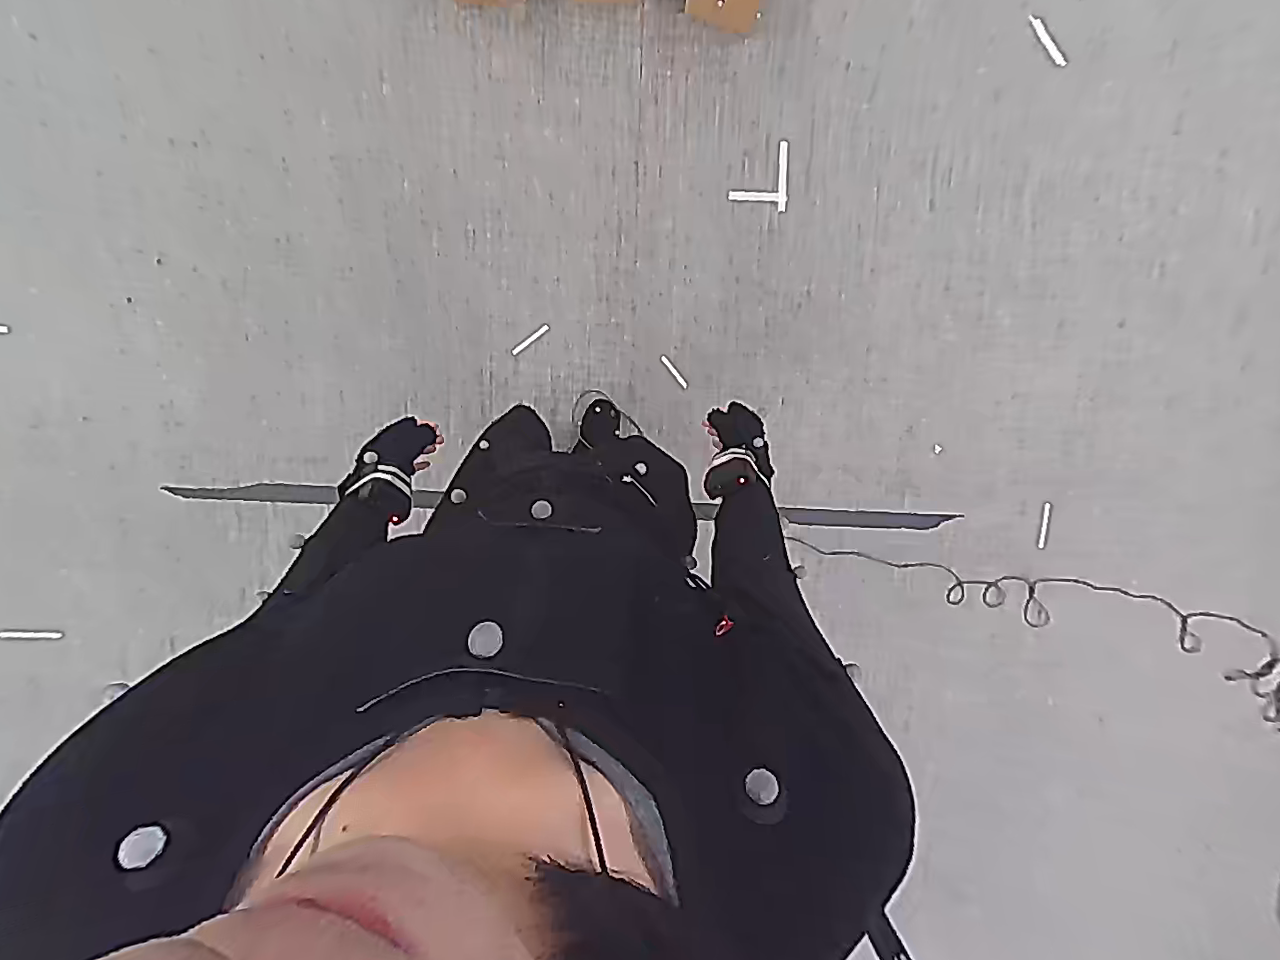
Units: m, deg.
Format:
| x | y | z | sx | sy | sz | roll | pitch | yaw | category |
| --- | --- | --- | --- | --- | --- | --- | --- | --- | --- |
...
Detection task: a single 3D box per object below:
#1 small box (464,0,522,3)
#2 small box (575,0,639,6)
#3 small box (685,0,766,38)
| x | y | z | sx | sy | sz | roll | pitch | yaw | category |
| --- | --- | --- | --- | --- | --- | --- | --- | --- | --- |
| -0.362 | -1.234 | 1.231 | 0.168 | 0.176 | 0.179 | -7 | 98 | -4 | small box |
| -0.079 | -1.246 | 1.251 | 0.179 | 0.176 | 0.168 | -5 | 99 | -3 | small box |
| 0.220 | -1.205 | 1.283 | 0.179 | 0.176 | 0.168 | 13 | 97 | -6 | small box |
